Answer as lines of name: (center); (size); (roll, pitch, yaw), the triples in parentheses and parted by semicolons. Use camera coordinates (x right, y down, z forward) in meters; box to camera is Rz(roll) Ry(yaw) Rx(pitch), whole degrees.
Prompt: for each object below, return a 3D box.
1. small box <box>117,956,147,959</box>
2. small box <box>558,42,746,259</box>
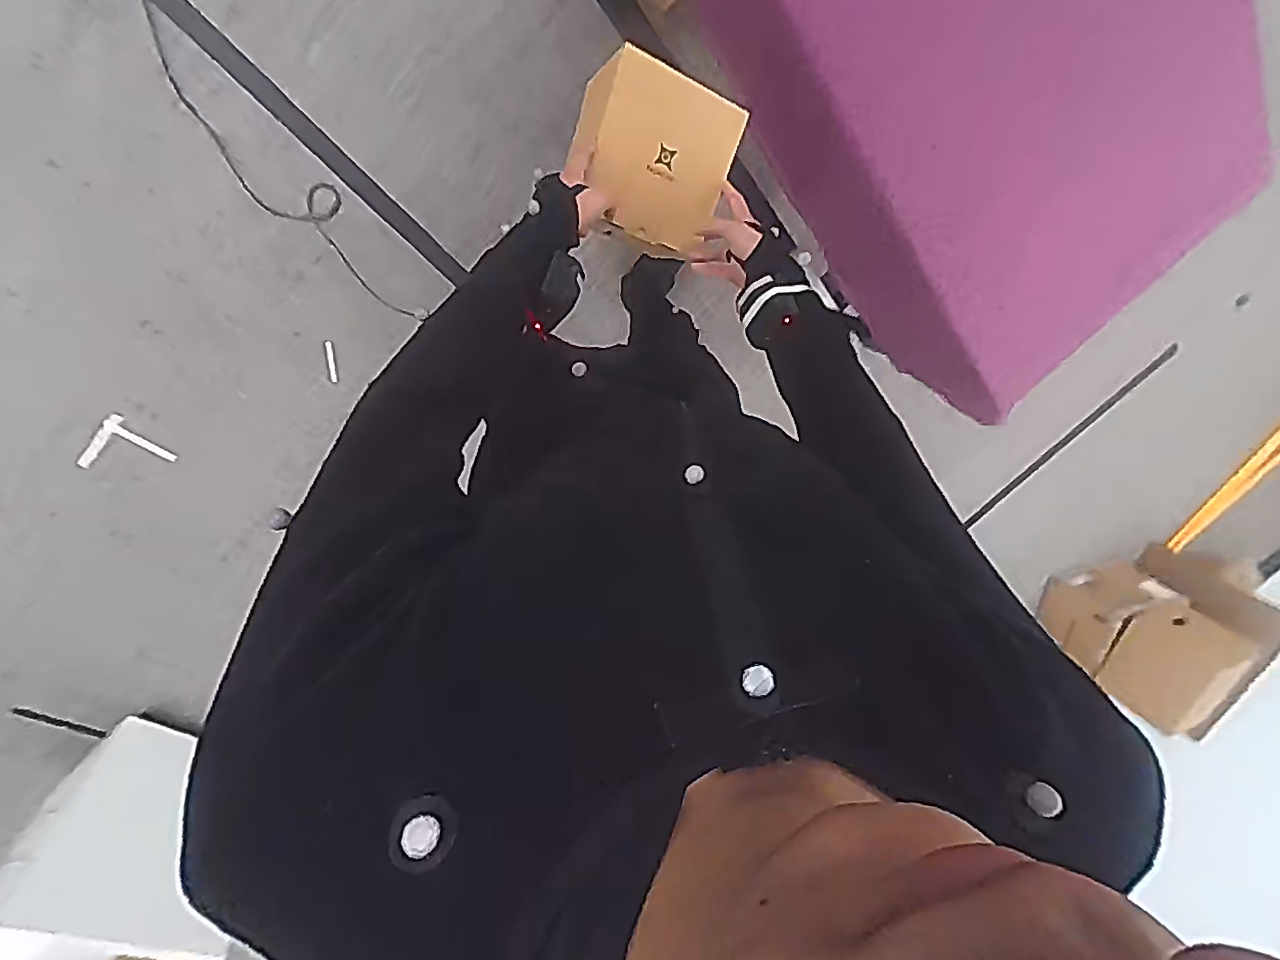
small box: (-1.261, 1.299, 1.300); (0.179, 0.176, 0.168); (-41, 121, 8)
small box: (0.002, -0.406, 0.700); (0.168, 0.176, 0.179); (12, 109, -24)
